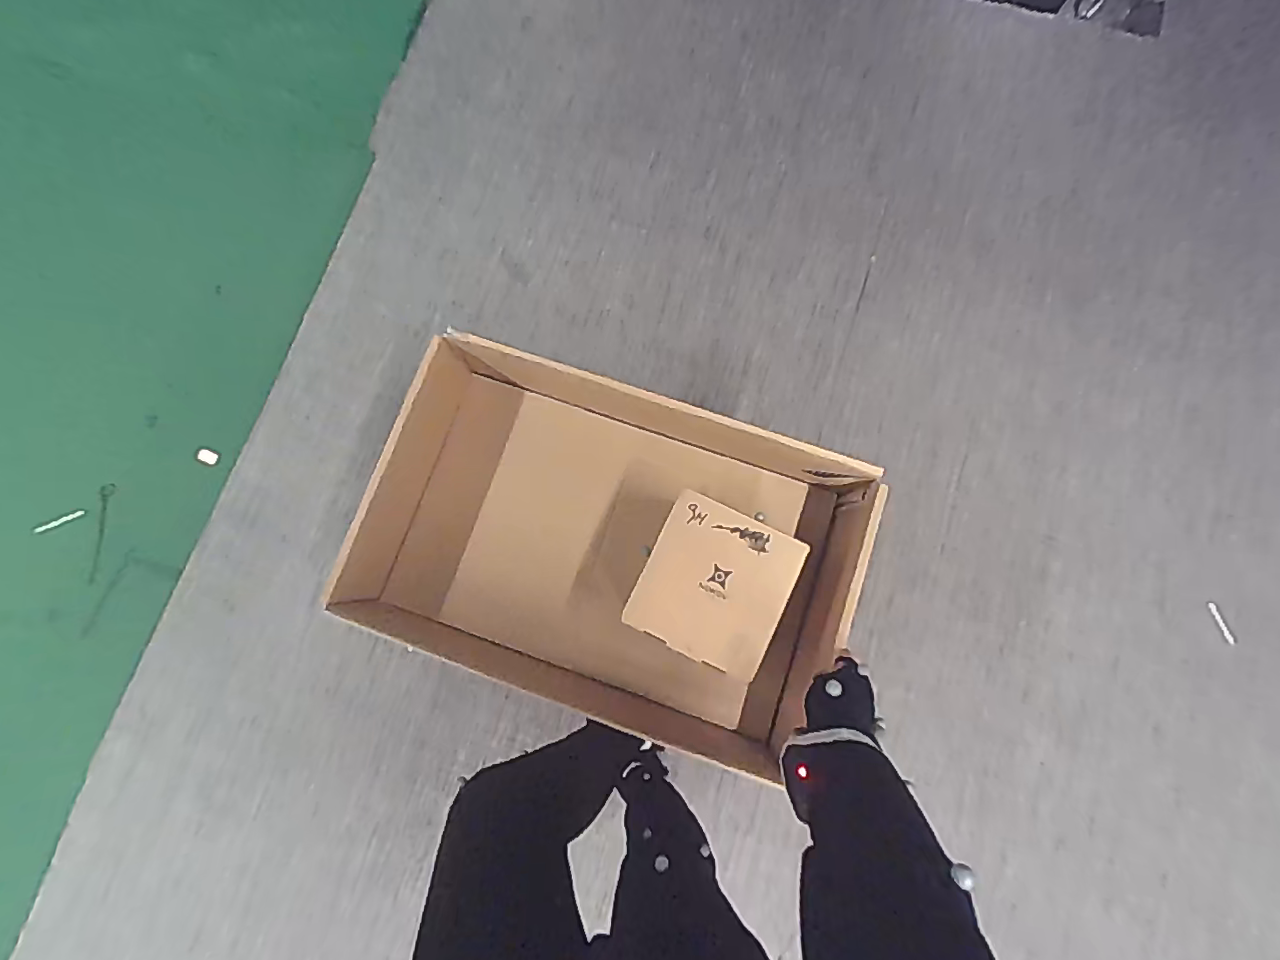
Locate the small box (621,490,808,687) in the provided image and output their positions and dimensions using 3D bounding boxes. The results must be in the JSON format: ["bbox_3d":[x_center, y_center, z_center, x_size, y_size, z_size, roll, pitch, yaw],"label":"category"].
[{"bbox_3d":[0.090,0.134,0.702,0.168,0.176,0.179,26,83,5],"label":"small box"}]
